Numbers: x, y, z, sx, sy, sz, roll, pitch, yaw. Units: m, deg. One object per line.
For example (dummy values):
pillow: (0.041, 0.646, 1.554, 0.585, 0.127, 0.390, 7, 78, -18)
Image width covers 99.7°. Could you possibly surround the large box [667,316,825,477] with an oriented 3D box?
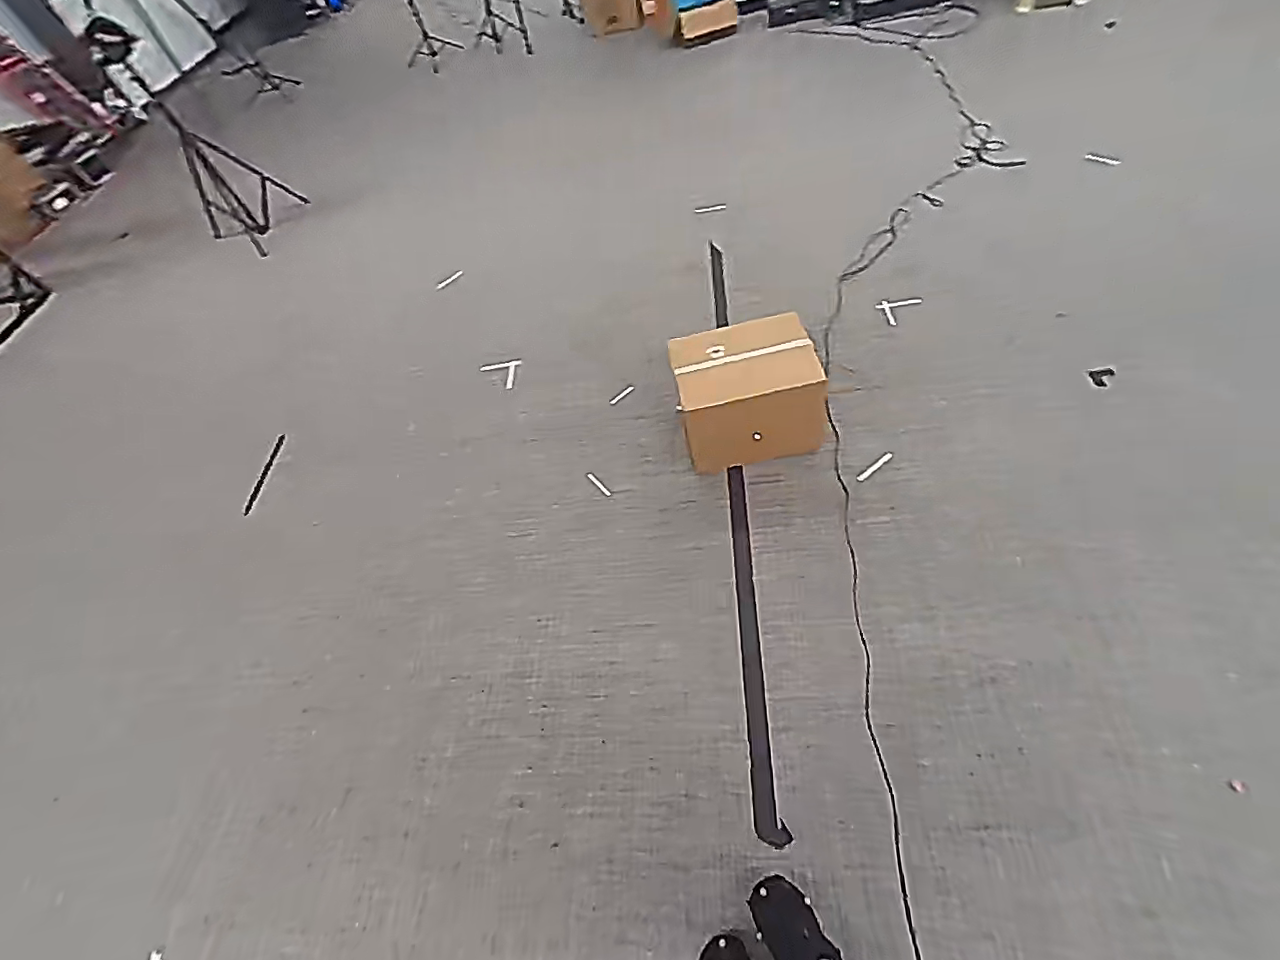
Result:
large box: (0.326, -0.250, 1.693, 0.408, 0.320, 0.320, -13, 52, 6)
